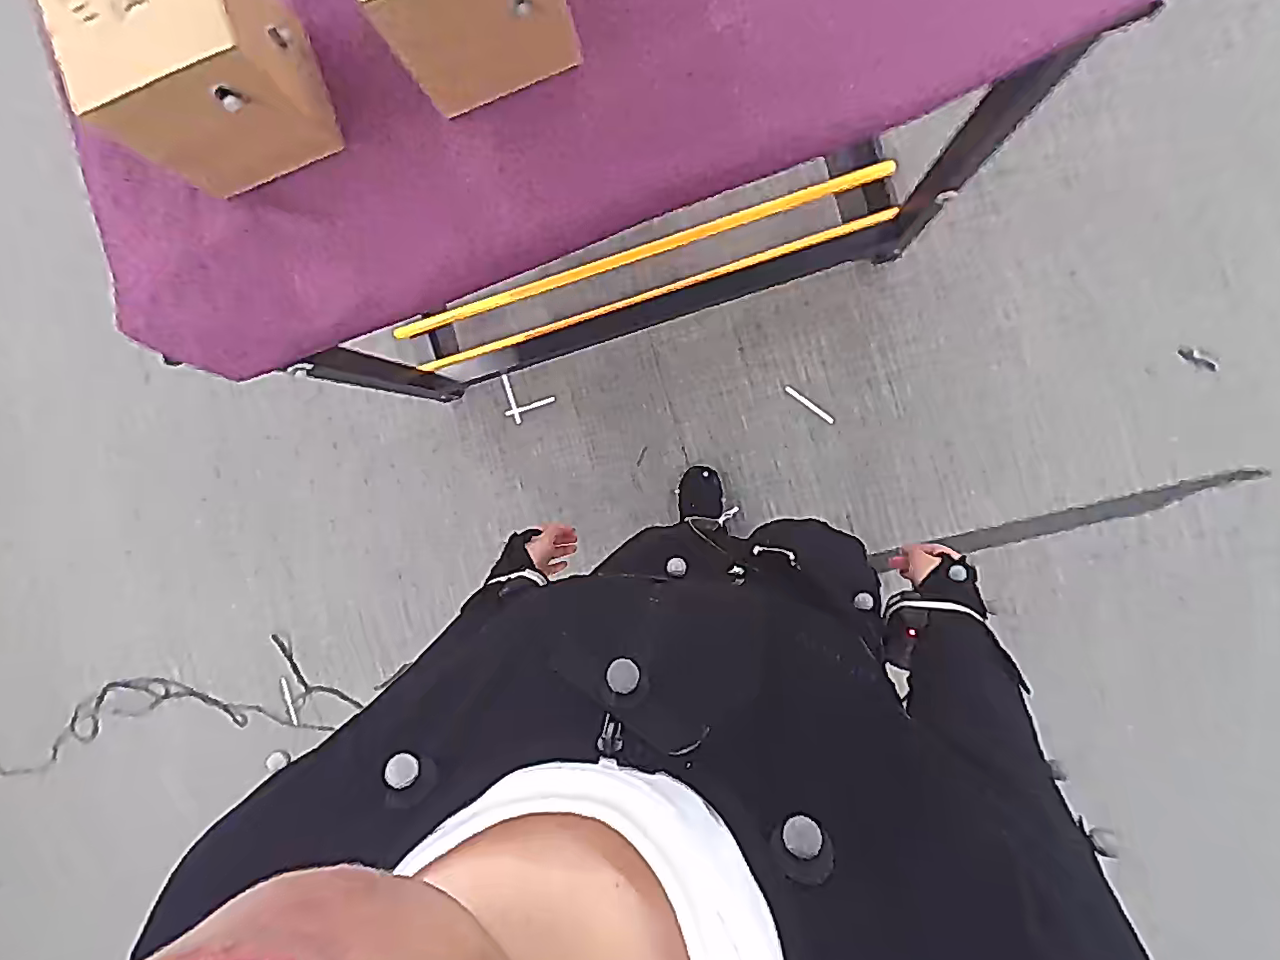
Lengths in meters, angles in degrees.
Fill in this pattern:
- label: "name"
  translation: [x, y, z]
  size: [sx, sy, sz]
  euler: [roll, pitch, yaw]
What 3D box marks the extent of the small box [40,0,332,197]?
- label: "small box"
  translation: [-0.474, -0.451, 0.591]
  size: [0.179, 0.176, 0.168]
  euler: [-19, 89, 5]
